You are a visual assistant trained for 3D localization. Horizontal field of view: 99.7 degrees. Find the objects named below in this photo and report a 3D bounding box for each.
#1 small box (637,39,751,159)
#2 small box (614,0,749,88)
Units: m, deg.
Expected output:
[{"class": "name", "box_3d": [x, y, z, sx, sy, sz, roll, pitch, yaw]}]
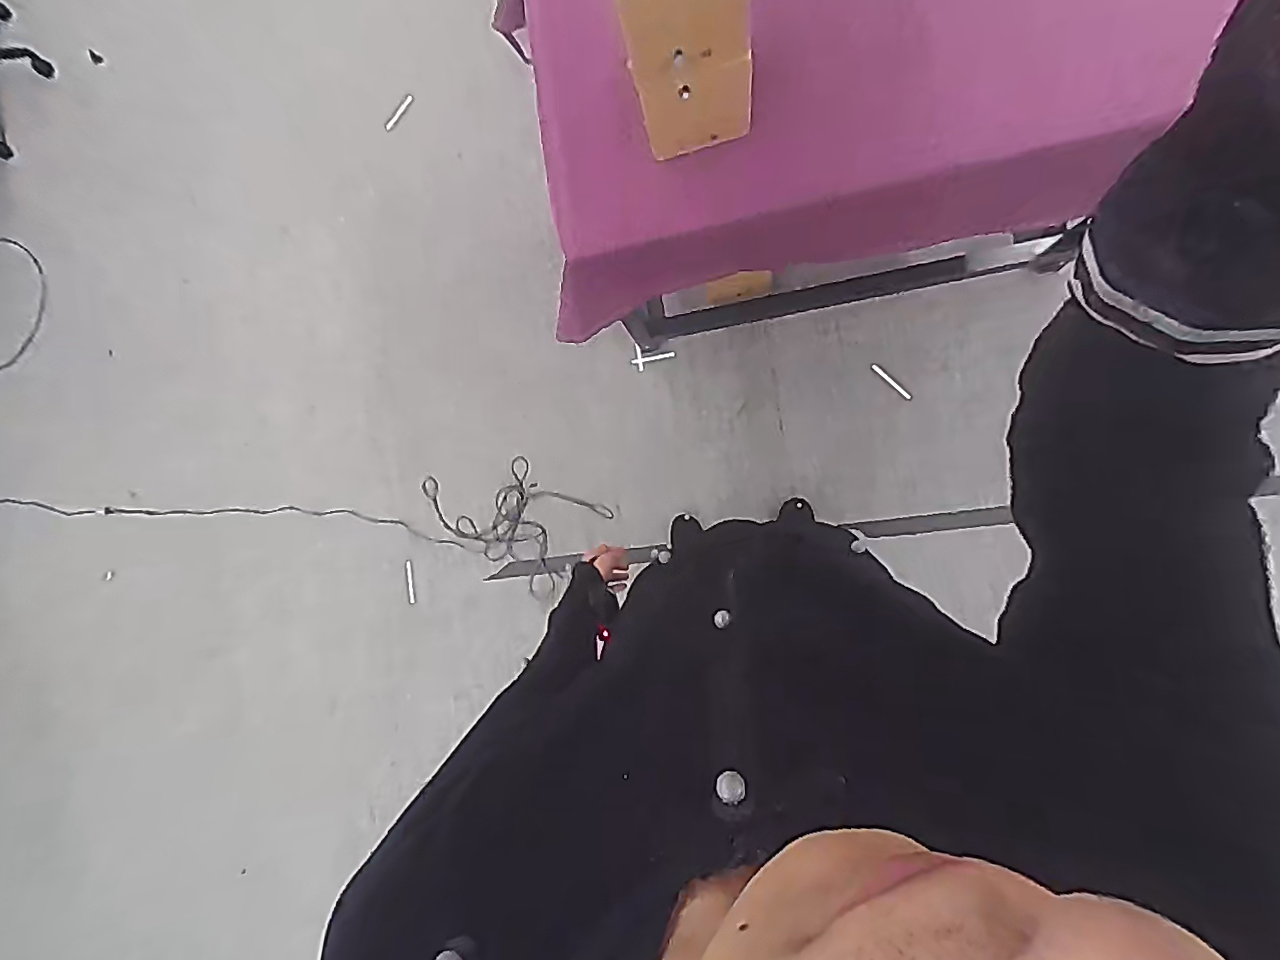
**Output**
[{"class": "small box", "box_3d": [0.077, -0.659, 0.858, 0.168, 0.176, 0.179, -11, 86, 10]}, {"class": "small box", "box_3d": [0.043, -0.666, 0.698, 0.168, 0.176, 0.179, -12, 86, 10]}]
